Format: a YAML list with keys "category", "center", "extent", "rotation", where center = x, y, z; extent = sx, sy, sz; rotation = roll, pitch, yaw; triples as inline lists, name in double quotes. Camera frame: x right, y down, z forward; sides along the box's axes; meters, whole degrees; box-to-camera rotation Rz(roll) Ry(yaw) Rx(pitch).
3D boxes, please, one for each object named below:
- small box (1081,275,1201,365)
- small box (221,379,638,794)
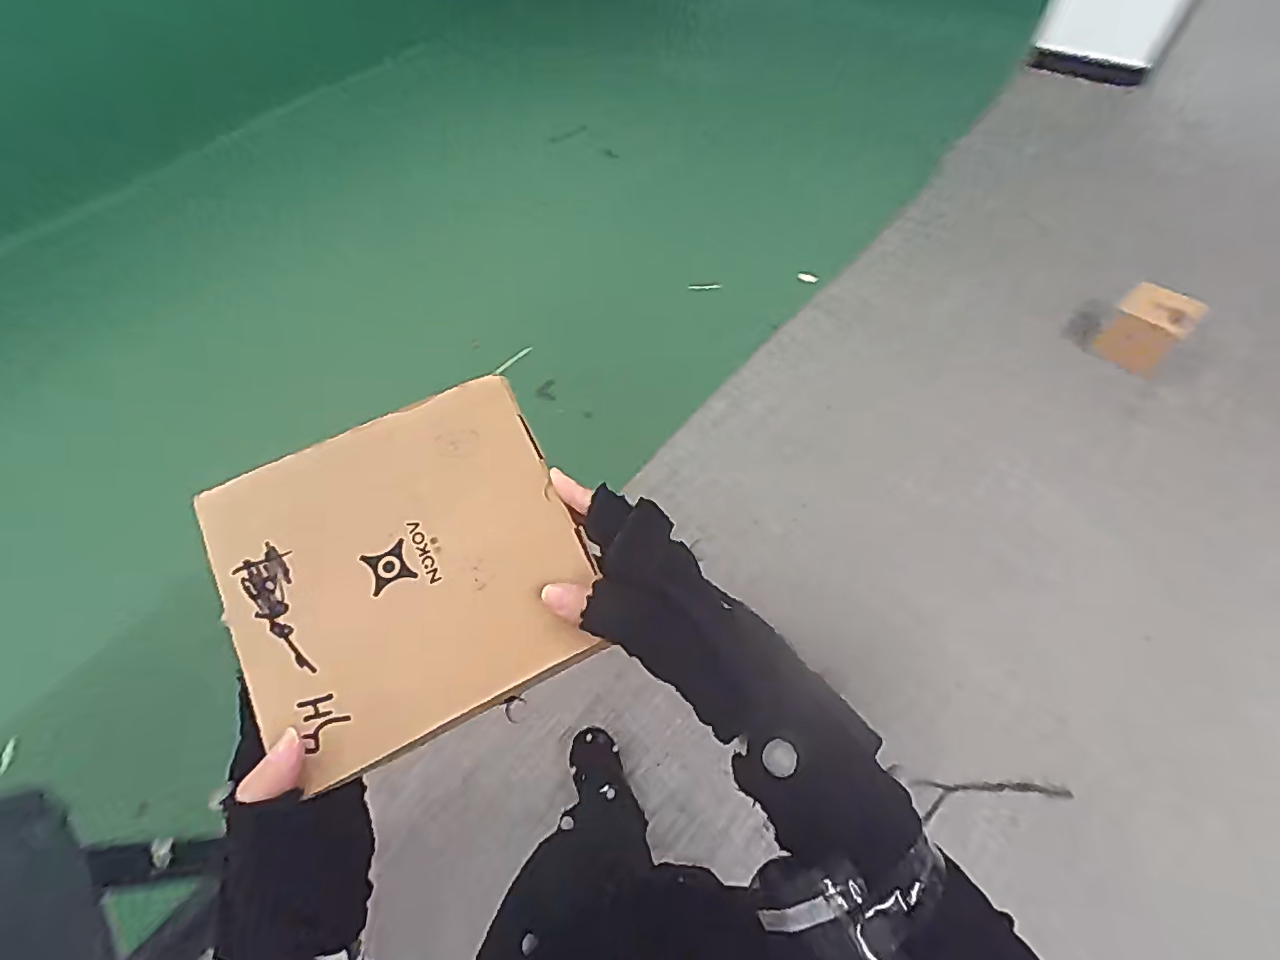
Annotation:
- category: "small box"
  center: [1.491, -0.471, 1.621]
  extent: [0.168, 0.176, 0.179]
  rotation: [-41, 62, -17]
- category: "small box"
  center: [-0.118, 0.067, 0.365]
  extent: [0.179, 0.176, 0.168]
  rotation: [-27, 75, -10]
